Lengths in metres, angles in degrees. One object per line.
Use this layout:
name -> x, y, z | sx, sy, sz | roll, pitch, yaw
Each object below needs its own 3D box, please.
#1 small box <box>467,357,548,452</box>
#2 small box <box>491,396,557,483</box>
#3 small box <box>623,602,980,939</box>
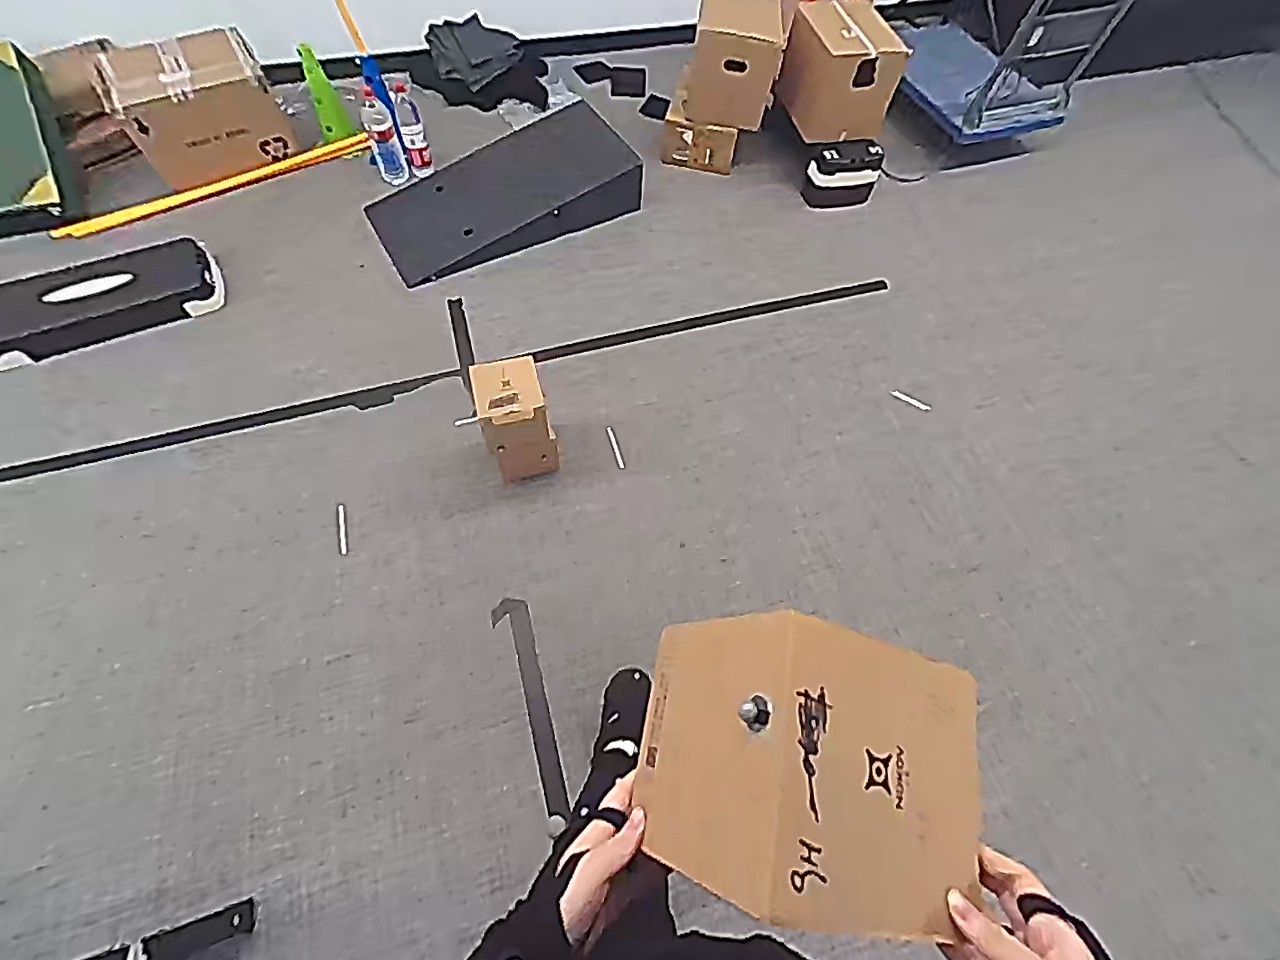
small box -> -0.342, -0.189, 1.415 | 0.168, 0.176, 0.179 | -13, 62, -11
small box -> -0.344, -0.115, 1.561 | 0.179, 0.176, 0.168 | -16, 63, -12
small box -> 0.113, 0.201, 0.400 | 0.179, 0.176, 0.168 | 23, 62, -21
